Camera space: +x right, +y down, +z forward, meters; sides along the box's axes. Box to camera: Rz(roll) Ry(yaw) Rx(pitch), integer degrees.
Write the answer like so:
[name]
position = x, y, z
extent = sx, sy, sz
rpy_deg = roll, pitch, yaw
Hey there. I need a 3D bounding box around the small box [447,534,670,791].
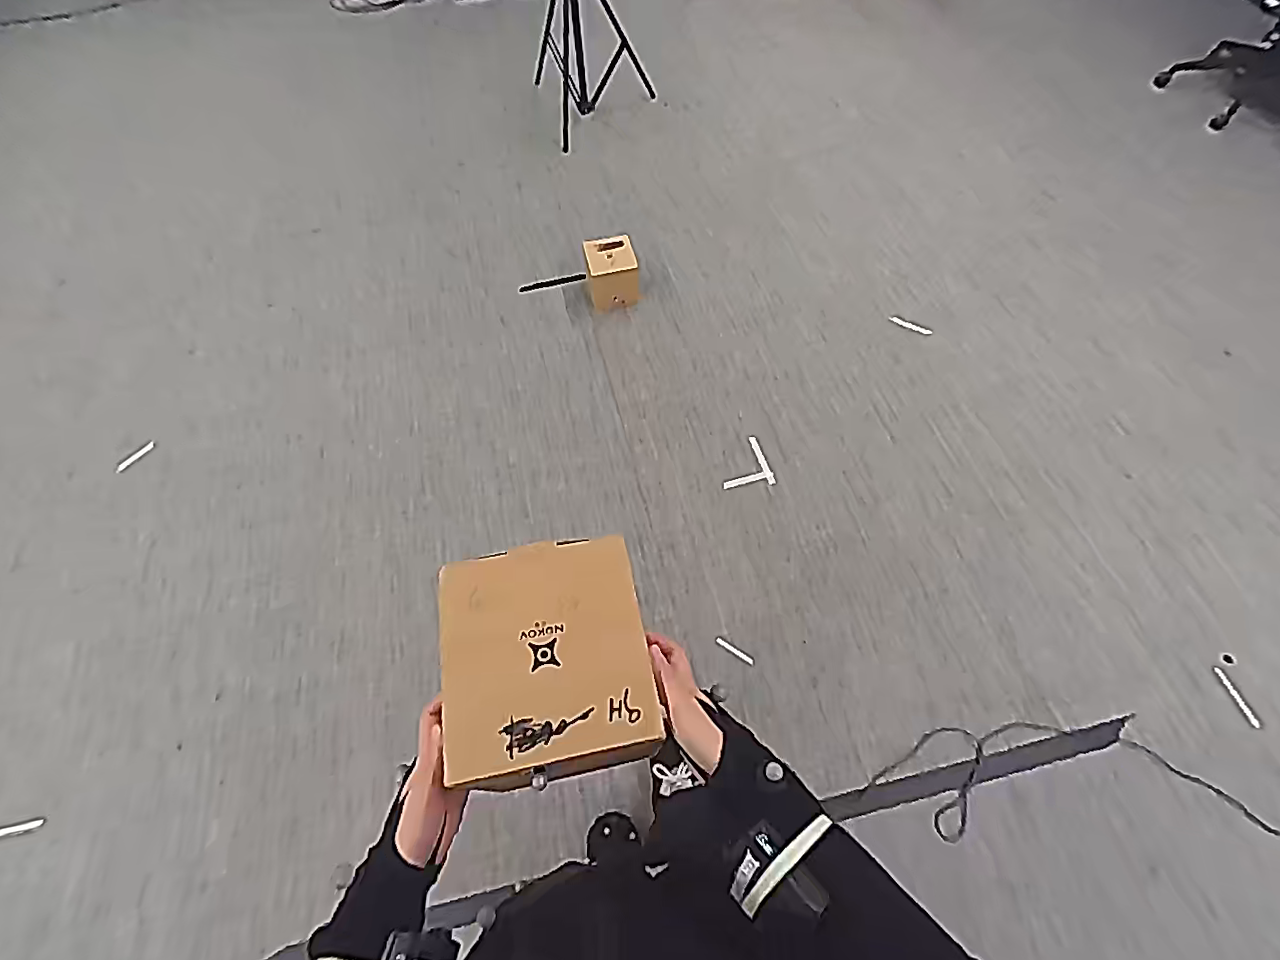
[small box]
position = -0.076, 0.175, 0.506
extent = 0.168, 0.176, 0.179
rpy_deg = -9, 59, -7
